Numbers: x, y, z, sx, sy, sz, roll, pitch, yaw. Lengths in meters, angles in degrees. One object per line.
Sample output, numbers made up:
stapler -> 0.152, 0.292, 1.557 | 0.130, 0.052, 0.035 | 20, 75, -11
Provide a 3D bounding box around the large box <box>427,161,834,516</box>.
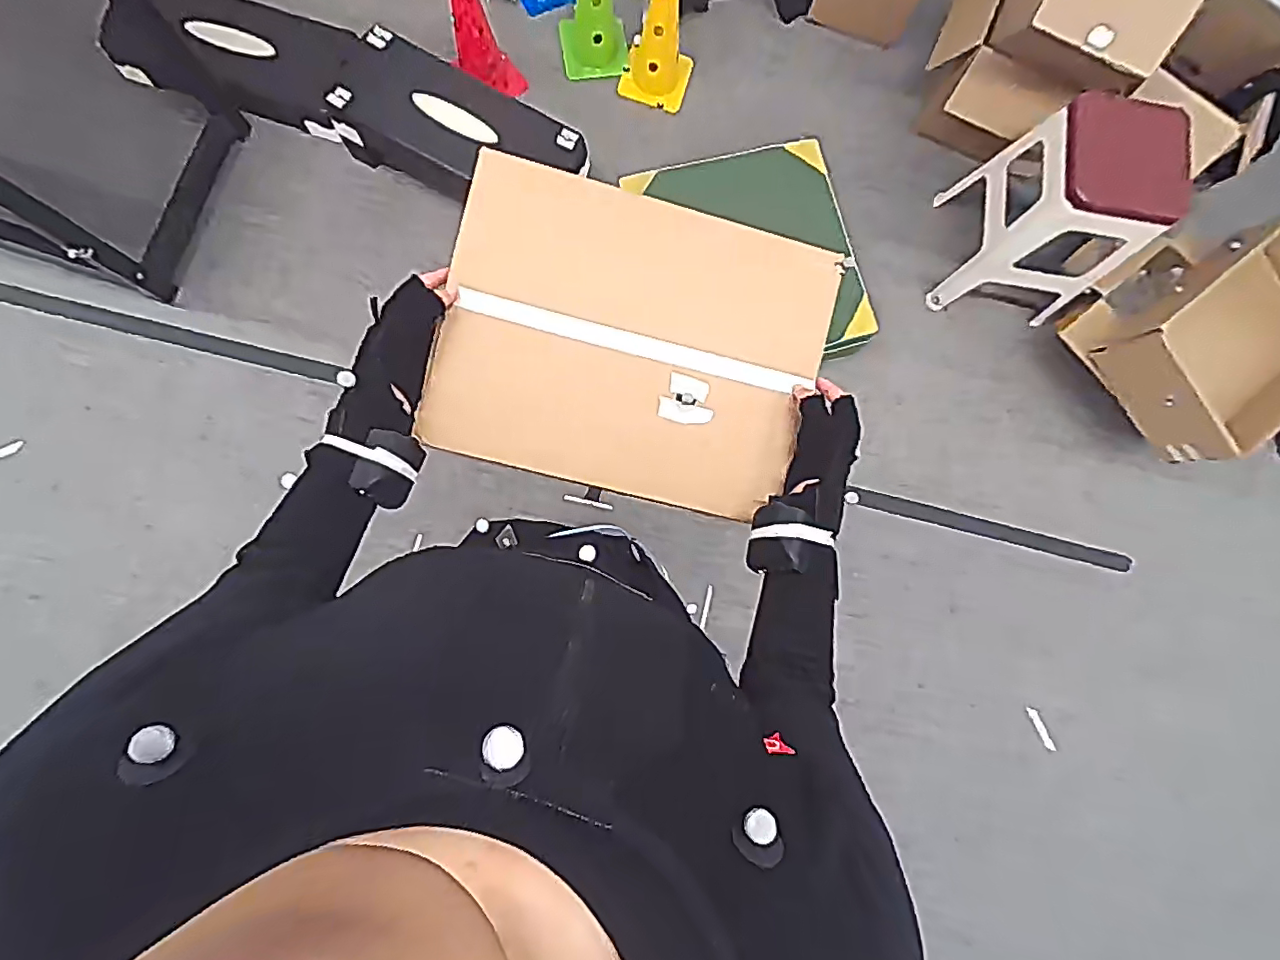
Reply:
large box -> -0.020, -0.150, 0.739 | 0.408, 0.320, 0.320 | 14, 90, -6
